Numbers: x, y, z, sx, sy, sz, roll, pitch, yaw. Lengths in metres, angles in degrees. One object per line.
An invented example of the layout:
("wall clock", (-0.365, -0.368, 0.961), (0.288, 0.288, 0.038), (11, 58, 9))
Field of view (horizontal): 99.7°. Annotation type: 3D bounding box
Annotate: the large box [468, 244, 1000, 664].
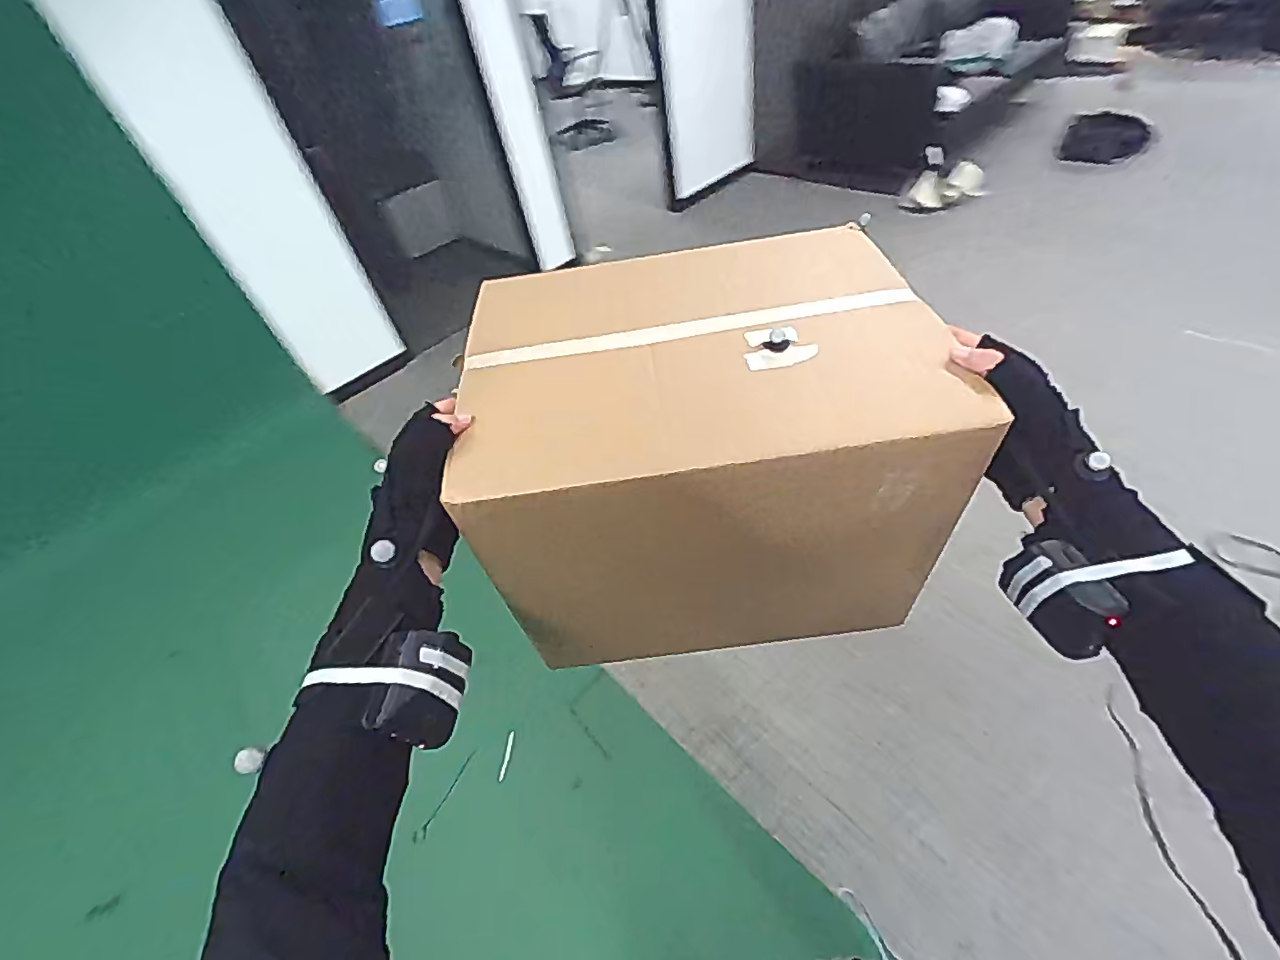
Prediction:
("large box", (0.069, -0.022, 0.603), (0.408, 0.320, 0.320), (-7, 49, 2))
